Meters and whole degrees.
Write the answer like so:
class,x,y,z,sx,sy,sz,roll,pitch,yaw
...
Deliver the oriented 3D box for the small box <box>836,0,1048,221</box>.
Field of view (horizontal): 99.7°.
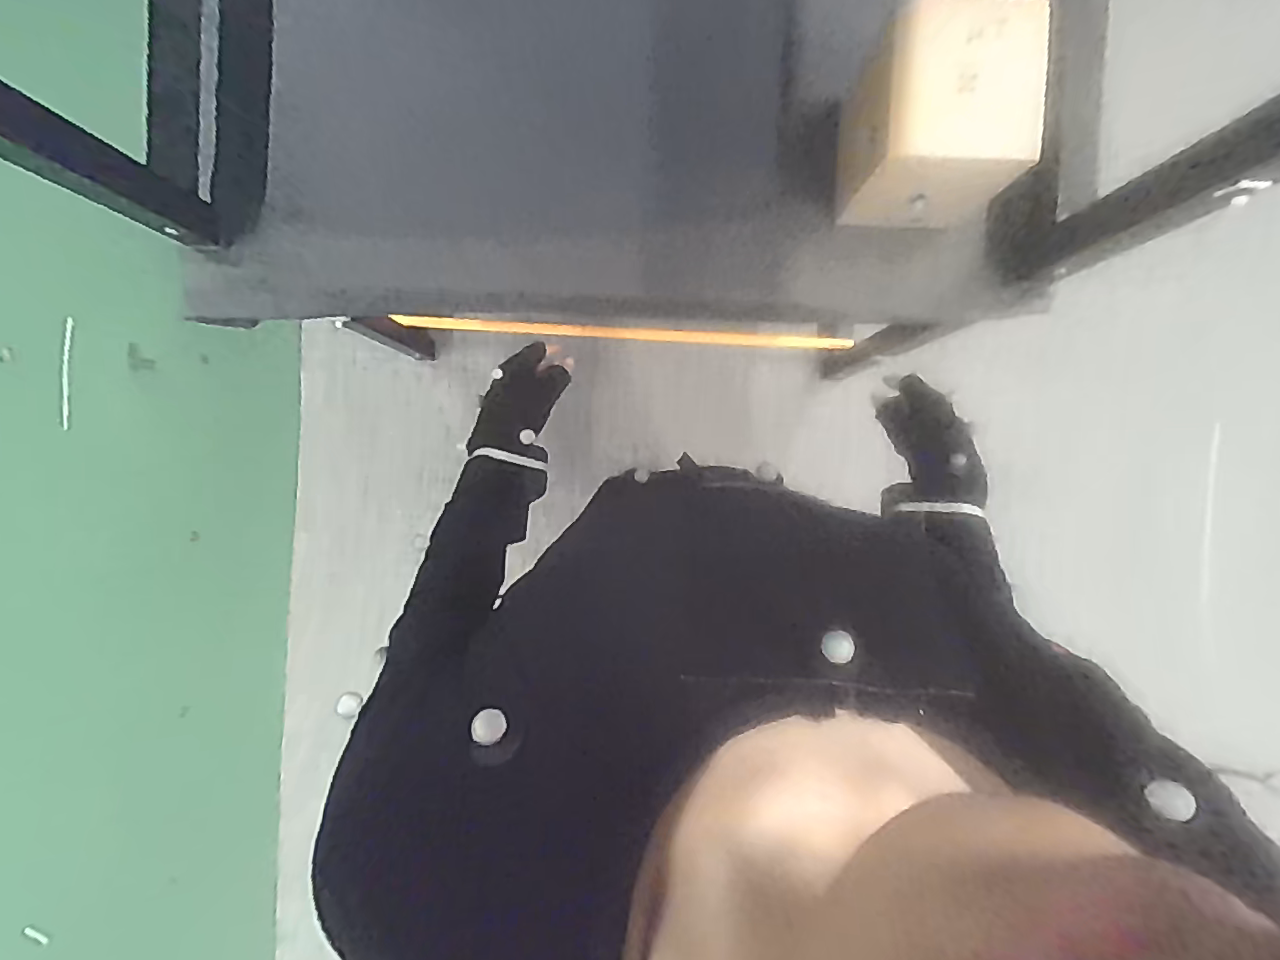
class,x,y,z,sx,sy,sz,roll,pitch,yaw
small box,0.352,-0.440,0.663,0.168,0.176,0.179,3,91,0
